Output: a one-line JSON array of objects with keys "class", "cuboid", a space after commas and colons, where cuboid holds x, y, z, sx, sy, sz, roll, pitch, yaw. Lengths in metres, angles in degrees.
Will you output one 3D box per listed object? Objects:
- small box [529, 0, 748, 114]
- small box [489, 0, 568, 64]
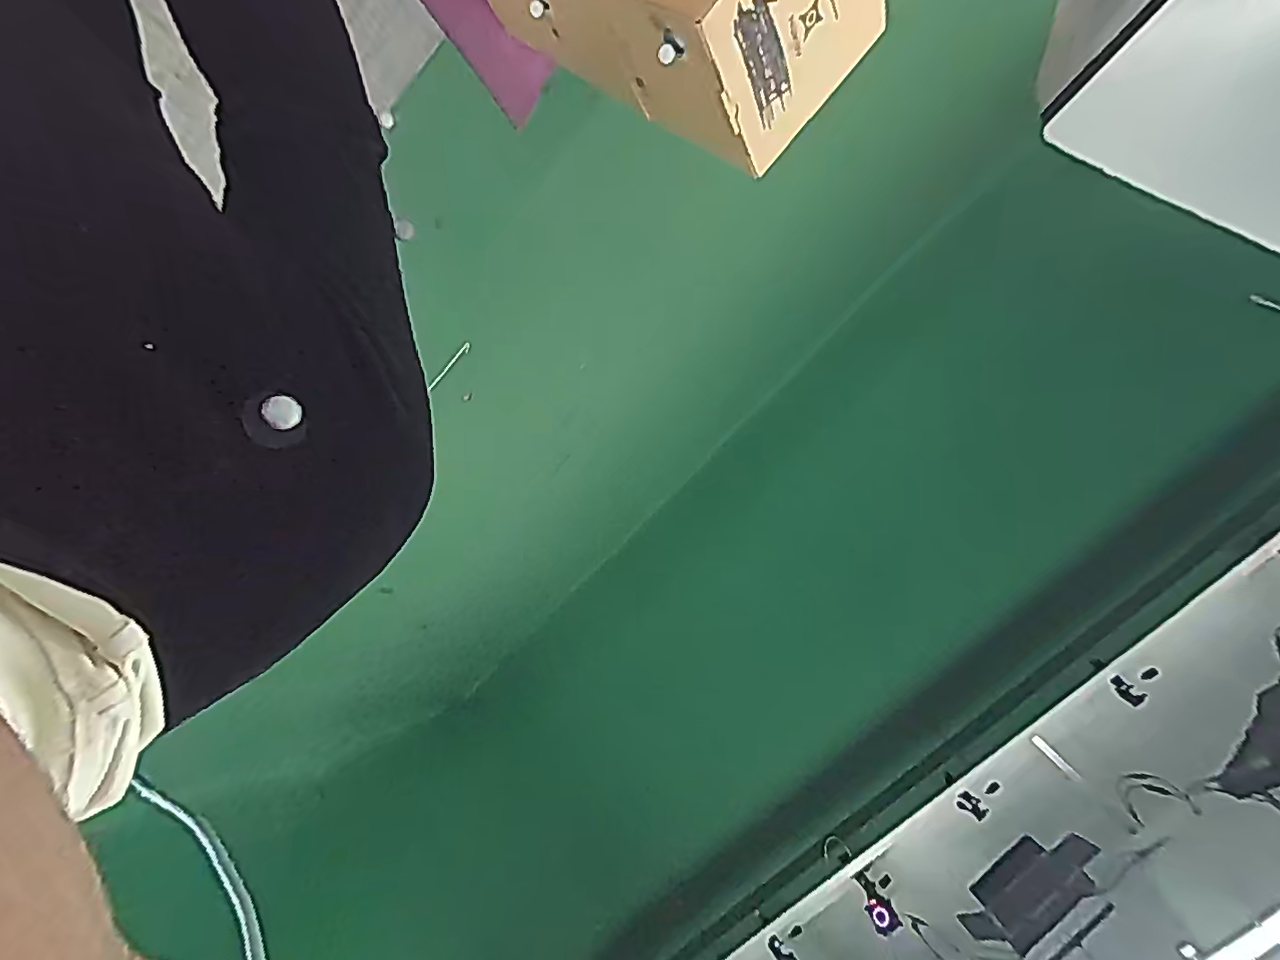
[{"class": "small box", "cuboid": [-0.015, -0.541, 0.558, 0.179, 0.176, 0.168, -45, 153, 7]}, {"class": "small box", "cuboid": [-0.116, -0.650, 0.626, 0.168, 0.176, 0.179, -45, 155, 7]}]
